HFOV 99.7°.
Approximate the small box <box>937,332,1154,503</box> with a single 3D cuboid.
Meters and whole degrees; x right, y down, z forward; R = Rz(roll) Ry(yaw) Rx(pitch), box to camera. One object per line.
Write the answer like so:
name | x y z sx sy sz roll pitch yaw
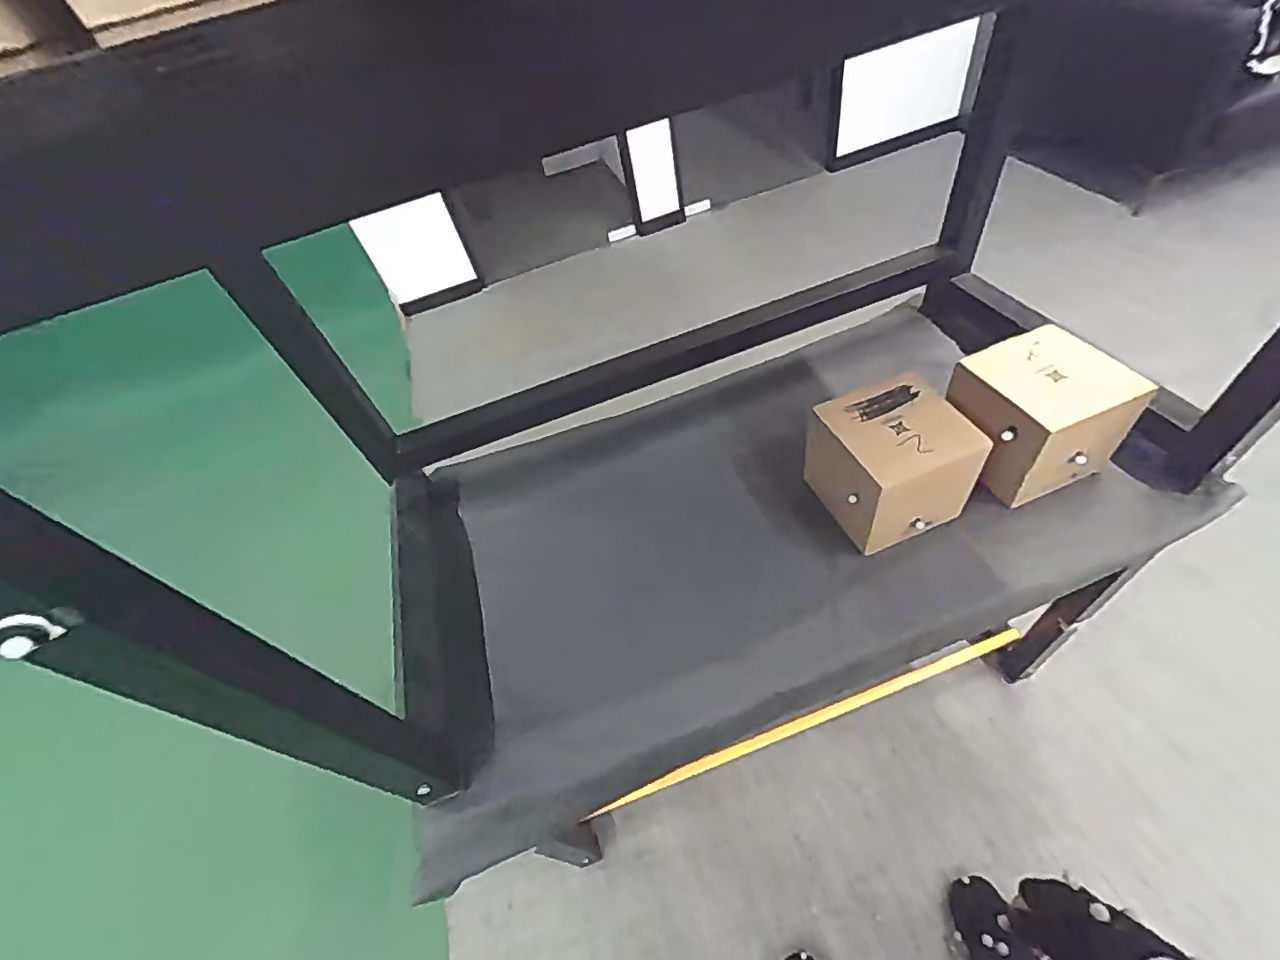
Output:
small box | 0.590 -0.087 0.817 0.168 0.176 0.179 -22 48 -5
